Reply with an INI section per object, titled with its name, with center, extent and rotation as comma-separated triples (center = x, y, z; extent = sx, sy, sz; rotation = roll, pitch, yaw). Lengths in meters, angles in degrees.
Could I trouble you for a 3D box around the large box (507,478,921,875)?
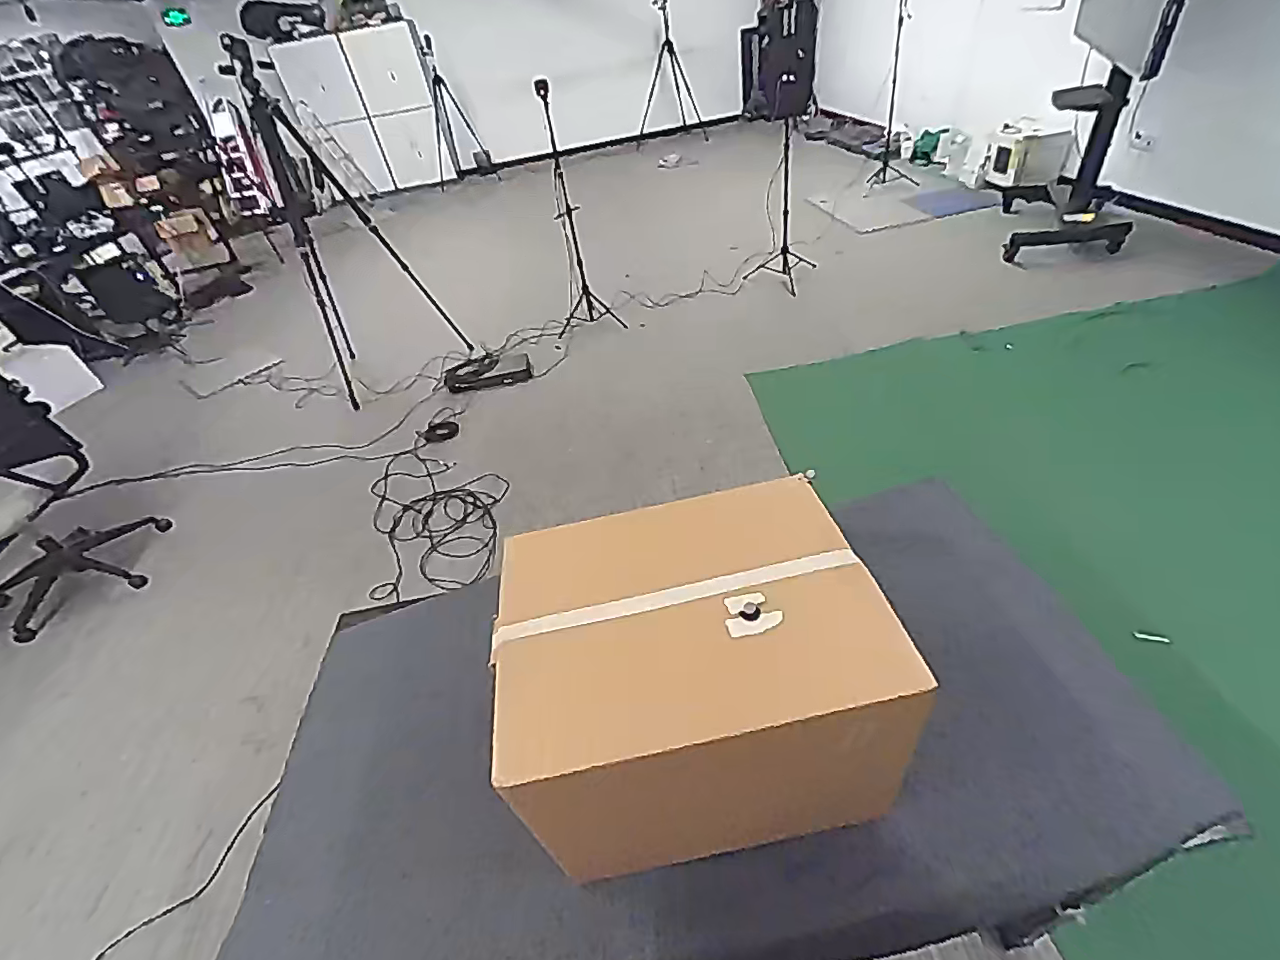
[large box]
center = 0.067, 0.246, 0.702
extent = 0.408, 0.320, 0.320
rotation = -12, 40, -2
